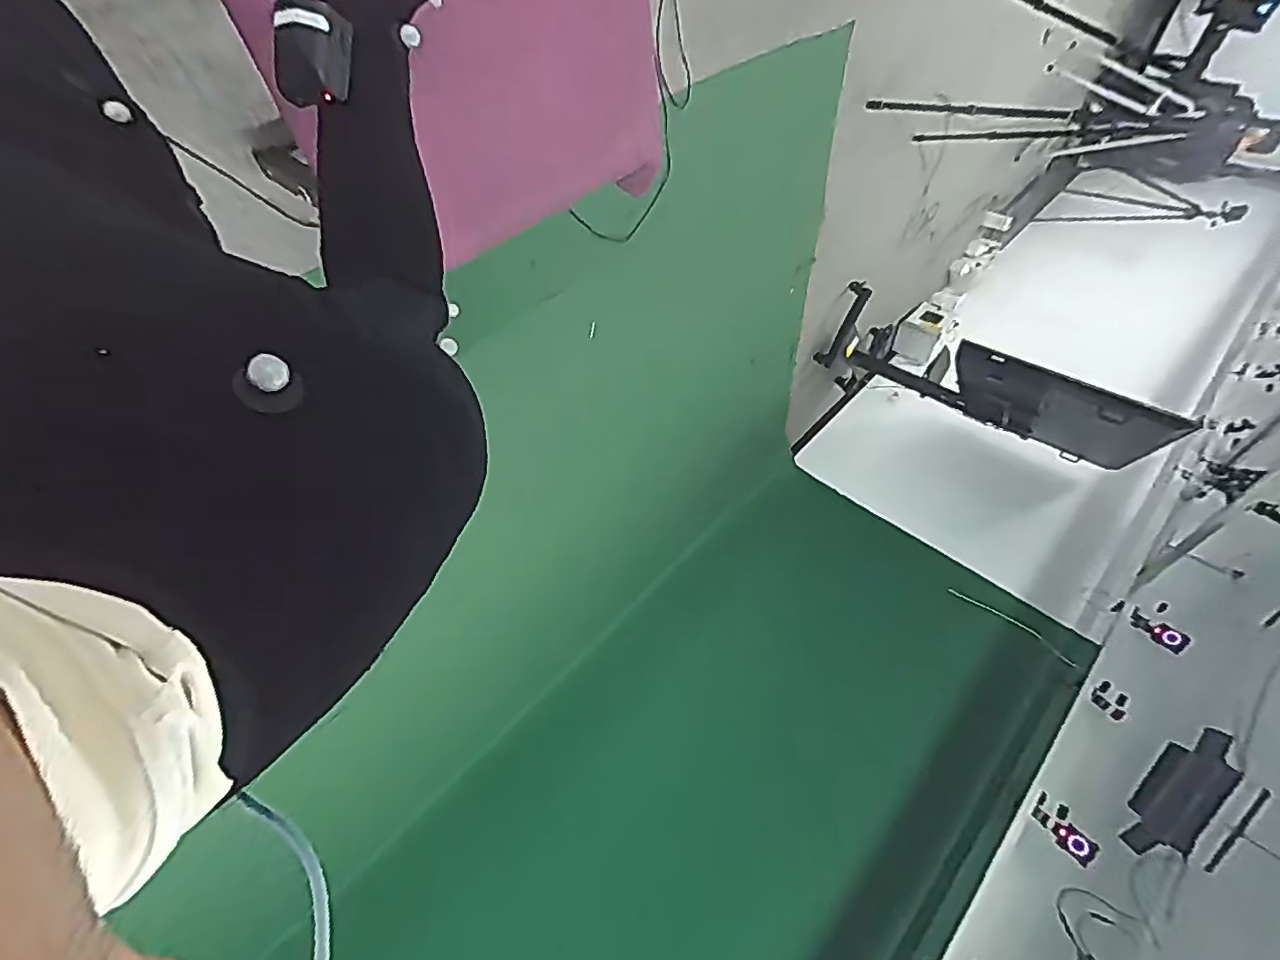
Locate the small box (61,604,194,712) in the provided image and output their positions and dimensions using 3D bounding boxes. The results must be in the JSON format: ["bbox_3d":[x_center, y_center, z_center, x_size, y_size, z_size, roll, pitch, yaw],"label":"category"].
[{"bbox_3d":[-1.290,0.440,1.361,0.168,0.176,0.179,-39,145,-24],"label":"small box"}]
